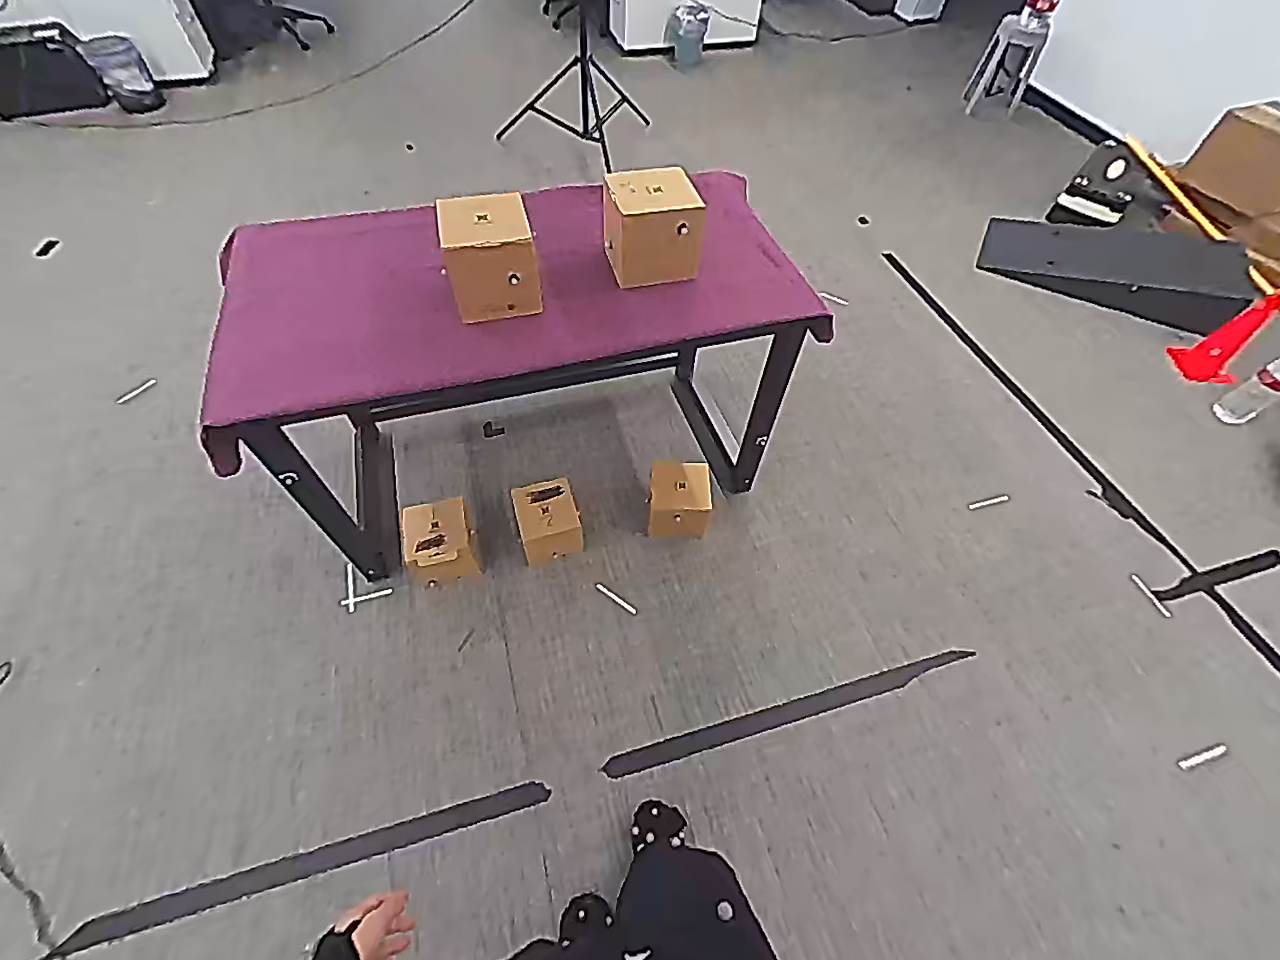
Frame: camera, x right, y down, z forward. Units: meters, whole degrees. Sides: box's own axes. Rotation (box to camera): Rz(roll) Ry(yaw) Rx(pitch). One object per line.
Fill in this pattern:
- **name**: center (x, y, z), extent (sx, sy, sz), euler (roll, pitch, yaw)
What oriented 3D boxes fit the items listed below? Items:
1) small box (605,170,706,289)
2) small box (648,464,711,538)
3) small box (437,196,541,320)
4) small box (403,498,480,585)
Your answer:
- **small box**: center (0.025, -0.537, 1.167), extent (0.179, 0.176, 0.168), euler (-12, 56, -10)
- **small box**: center (0.115, 0.066, 1.644), extent (0.179, 0.176, 0.168), euler (0, 56, -1)
- **small box**: center (-0.299, -0.438, 1.085), extent (0.168, 0.176, 0.179), euler (-11, 55, -12)
- **small box**: center (-0.557, 0.181, 1.530), extent (0.168, 0.176, 0.179), euler (-12, 56, -11)
